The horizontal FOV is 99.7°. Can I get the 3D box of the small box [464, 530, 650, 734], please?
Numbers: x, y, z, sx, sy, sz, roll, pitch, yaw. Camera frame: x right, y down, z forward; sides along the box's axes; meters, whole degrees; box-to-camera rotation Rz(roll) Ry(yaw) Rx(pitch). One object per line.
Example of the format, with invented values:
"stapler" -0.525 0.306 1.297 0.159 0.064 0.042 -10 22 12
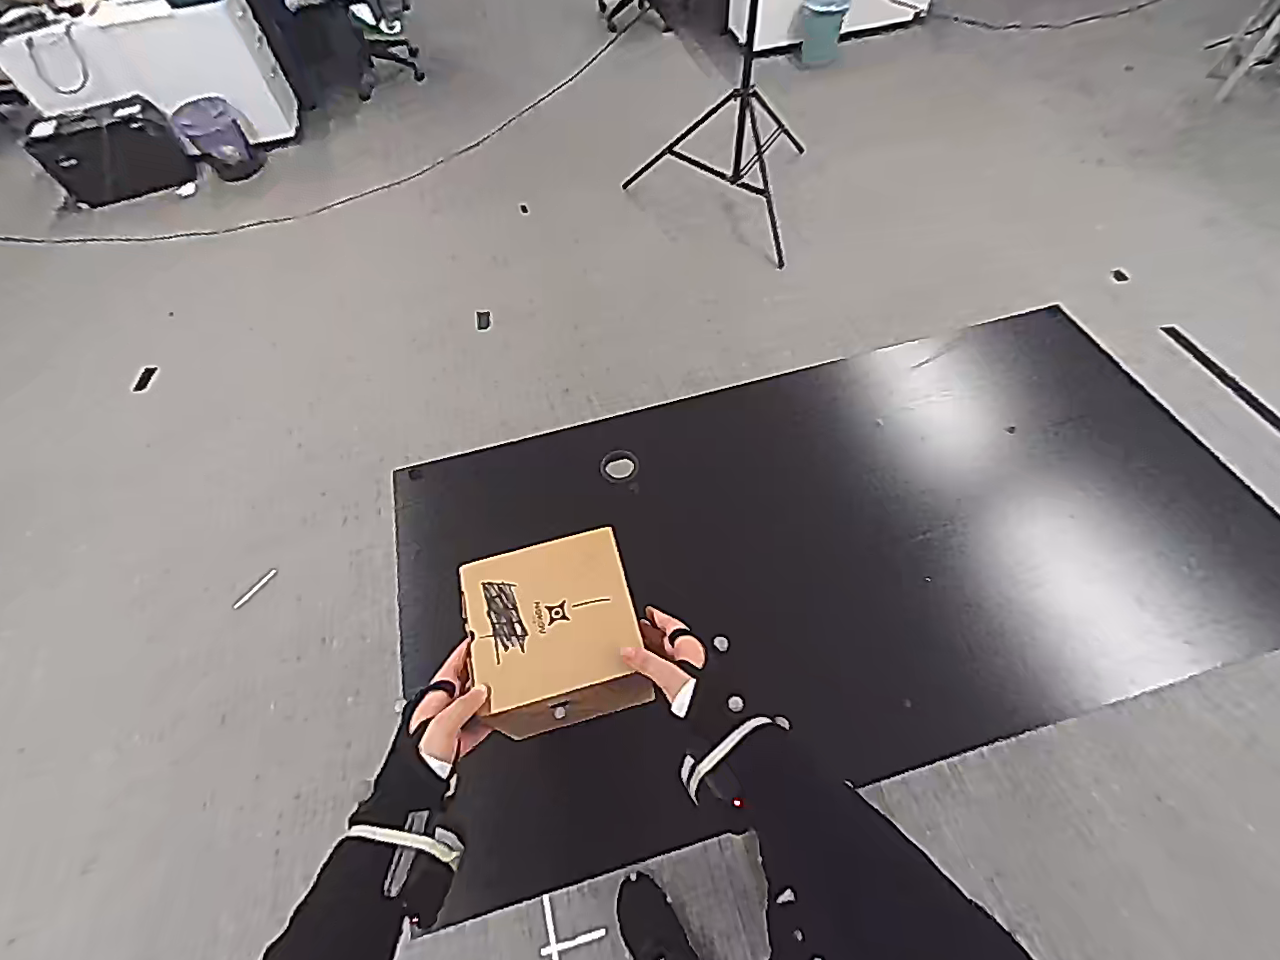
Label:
"small box" -0.092 0.186 0.640 0.179 0.176 0.168 -14 59 -6
